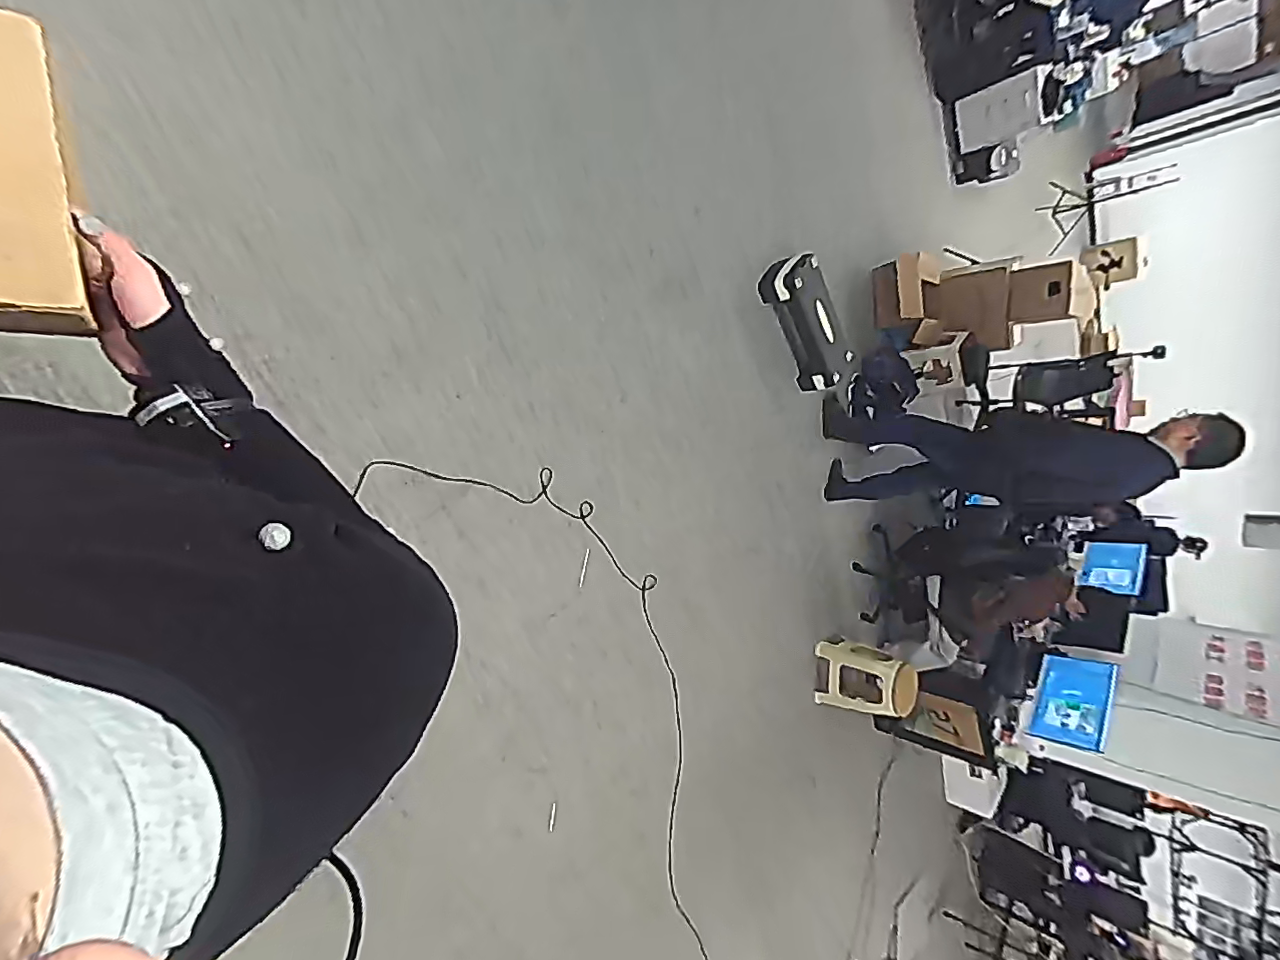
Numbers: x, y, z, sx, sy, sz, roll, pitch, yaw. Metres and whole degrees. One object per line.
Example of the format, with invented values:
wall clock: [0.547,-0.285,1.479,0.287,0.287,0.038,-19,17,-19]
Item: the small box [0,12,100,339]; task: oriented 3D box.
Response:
small box: [-0.470,-0.187,0.341,0.168,0.176,0.179,-9,102,-43]
